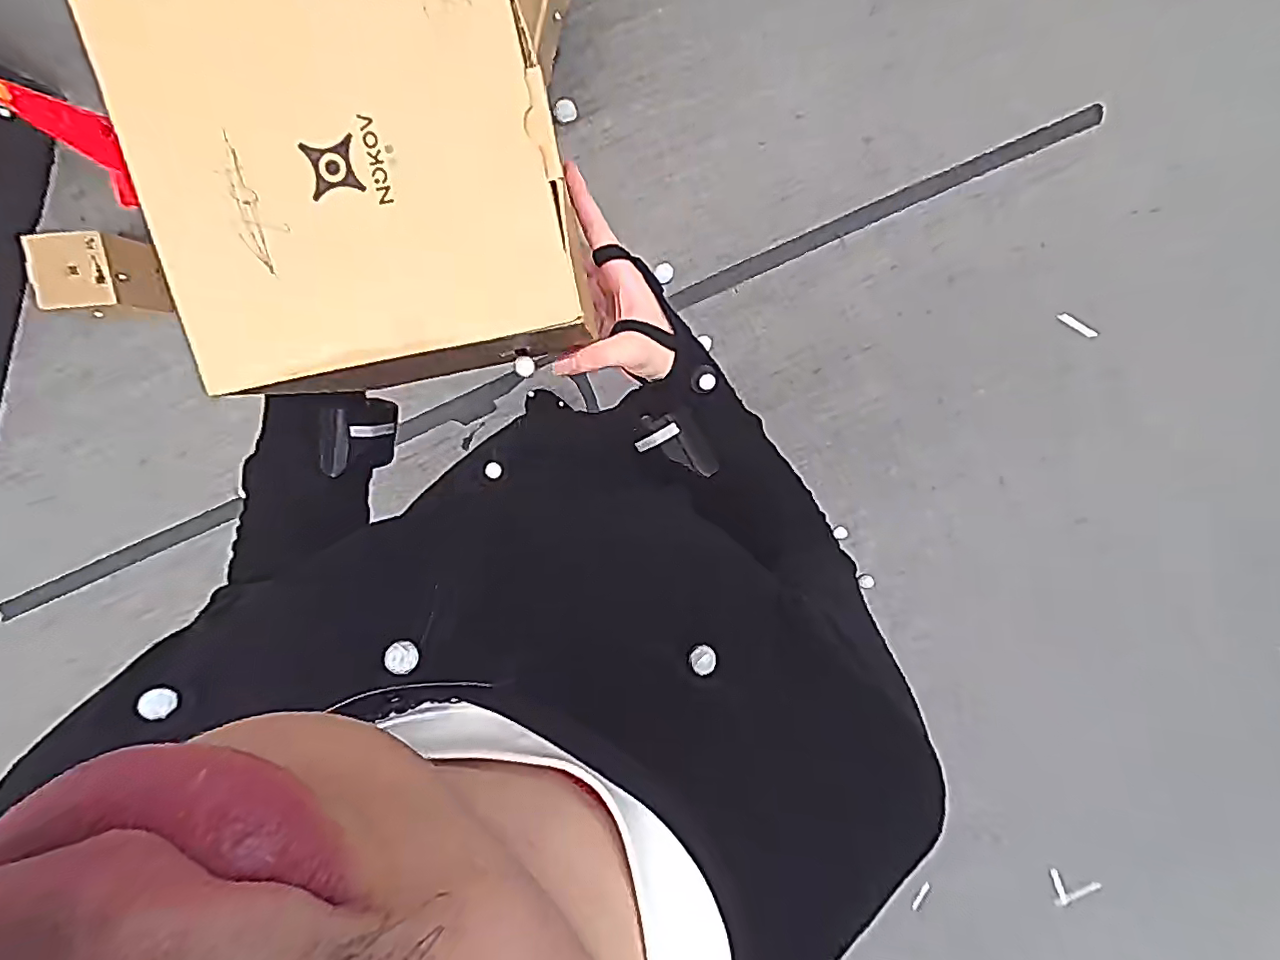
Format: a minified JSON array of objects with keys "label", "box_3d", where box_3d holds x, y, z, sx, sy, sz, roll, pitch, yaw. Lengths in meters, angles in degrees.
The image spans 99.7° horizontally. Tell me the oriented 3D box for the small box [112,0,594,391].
[{"label":"small box","box_3d":[-0.126,-0.151,0.320,0.179,0.176,0.168,-11,100,1]}]
